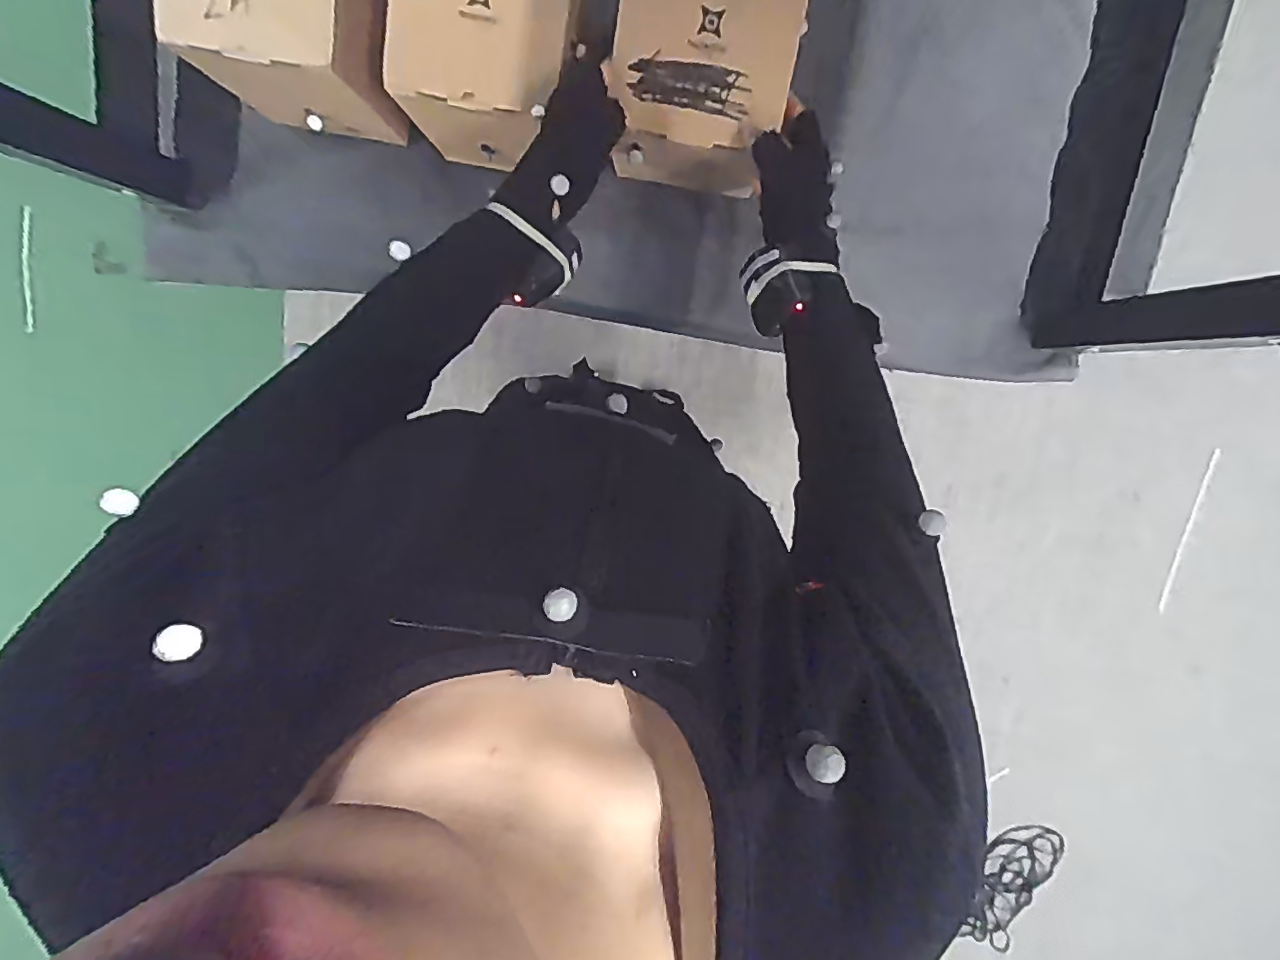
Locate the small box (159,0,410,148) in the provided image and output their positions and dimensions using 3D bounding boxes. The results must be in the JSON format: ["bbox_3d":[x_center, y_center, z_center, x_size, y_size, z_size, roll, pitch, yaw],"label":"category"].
[{"bbox_3d":[-0.351,-0.489,0.568,0.168,0.176,0.179,9,101,-2],"label":"small box"}]

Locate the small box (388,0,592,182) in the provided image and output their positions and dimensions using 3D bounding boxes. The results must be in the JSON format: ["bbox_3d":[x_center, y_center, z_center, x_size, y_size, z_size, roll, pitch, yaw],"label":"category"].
[{"bbox_3d":[-0.146,-0.452,0.578,0.168,0.176,0.179,9,101,-2],"label":"small box"}]
